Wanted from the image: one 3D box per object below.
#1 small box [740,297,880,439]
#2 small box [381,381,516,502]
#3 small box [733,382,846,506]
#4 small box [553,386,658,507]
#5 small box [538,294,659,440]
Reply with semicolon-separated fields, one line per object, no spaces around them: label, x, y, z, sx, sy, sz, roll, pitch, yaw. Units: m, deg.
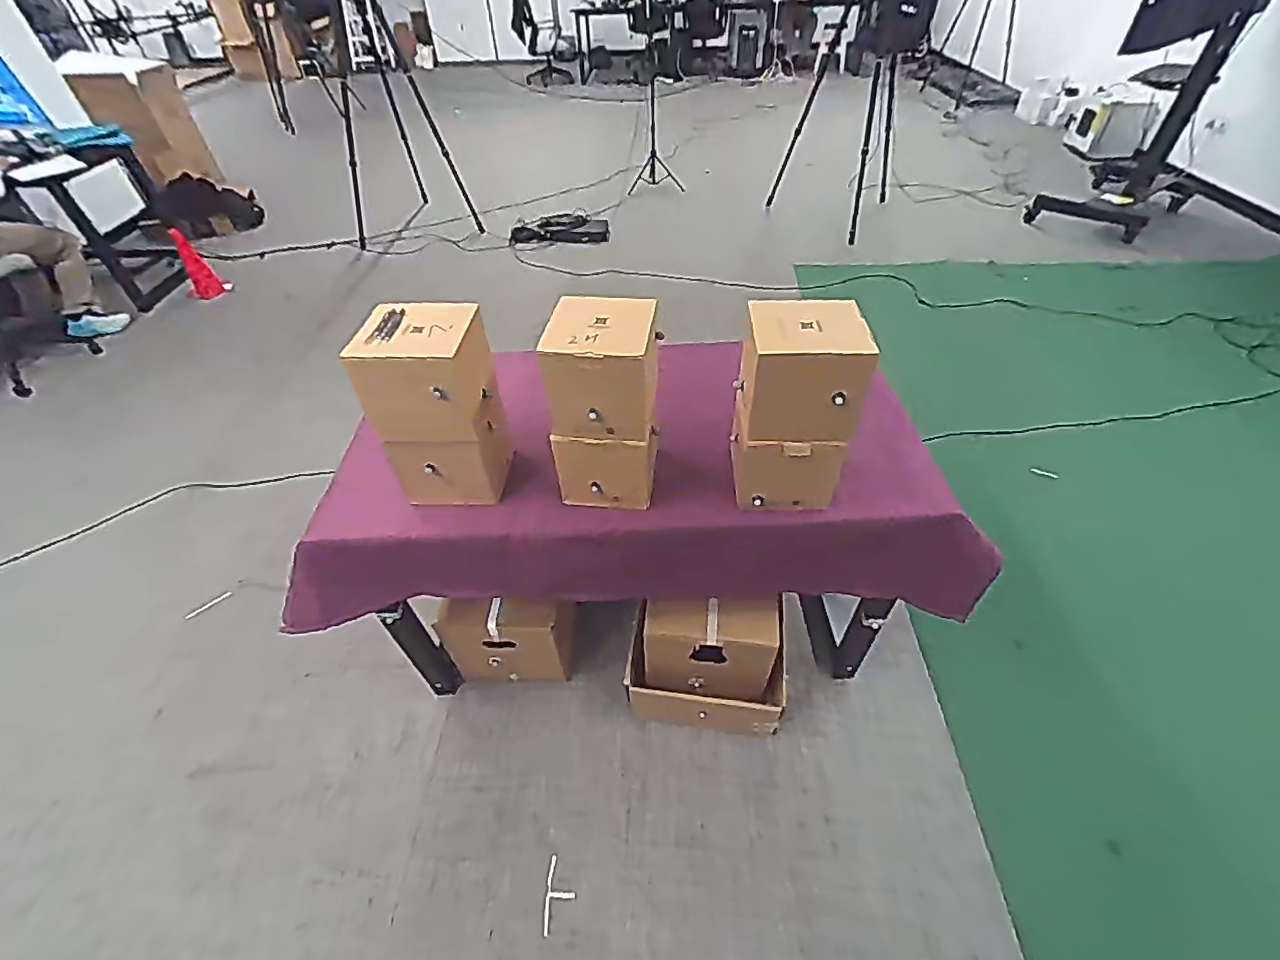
small box;0.263;-0.180;0.884;0.179;0.176;0.168;1;46;4
small box;-0.353;-0.071;1.034;0.179;0.176;0.168;0;47;4
small box;0.265;-0.066;1.000;0.168;0.176;0.179;0;45;3
small box;-0.056;-0.072;1.025;0.168;0.176;0.179;4;48;6
small box;-0.059;-0.191;0.910;0.168;0.176;0.179;4;48;7
